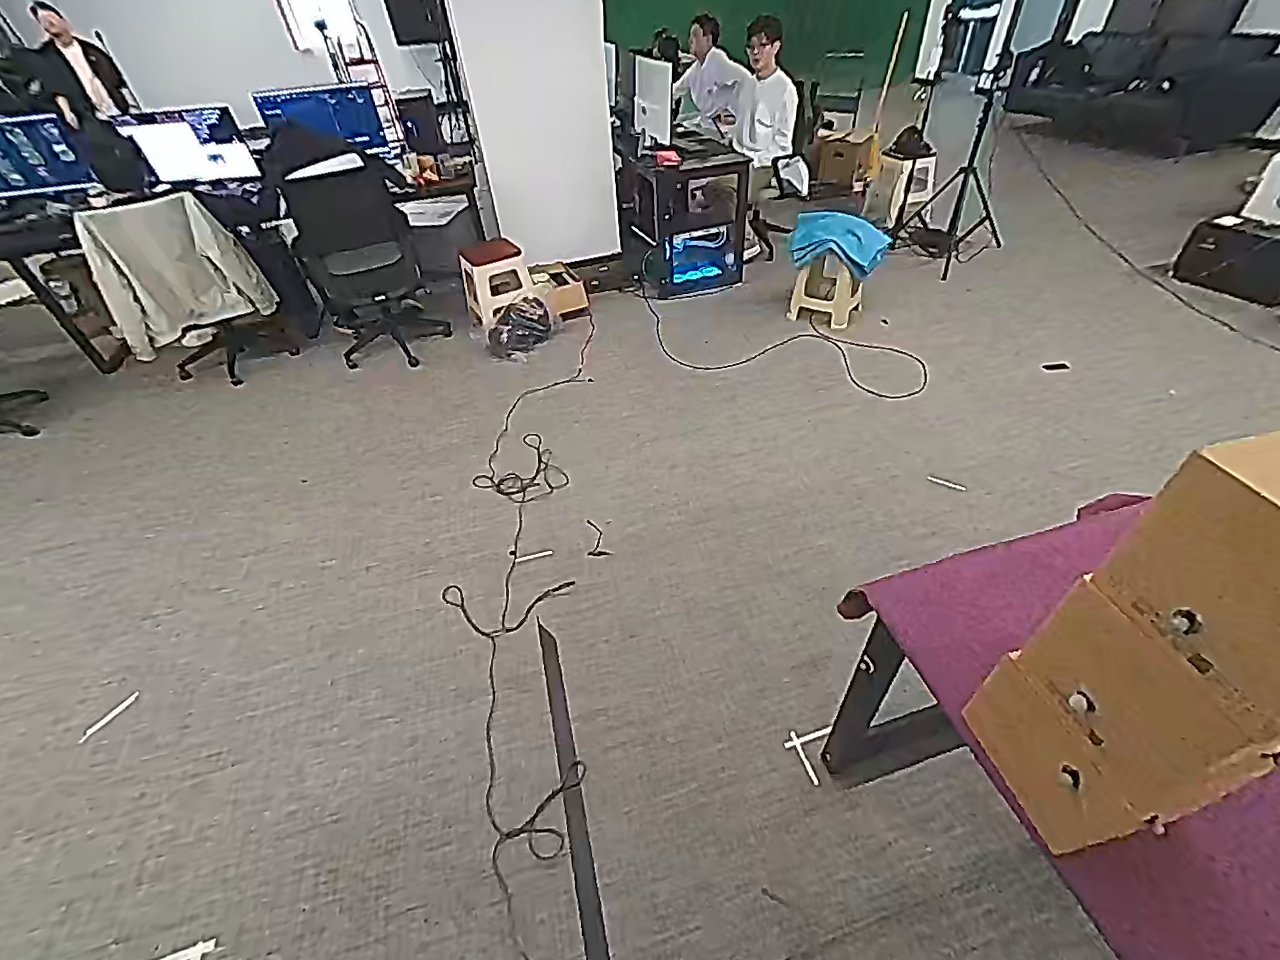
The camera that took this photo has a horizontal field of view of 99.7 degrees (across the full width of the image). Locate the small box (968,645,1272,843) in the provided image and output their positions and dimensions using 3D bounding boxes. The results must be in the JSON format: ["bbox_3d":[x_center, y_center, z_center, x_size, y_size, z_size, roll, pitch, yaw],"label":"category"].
[{"bbox_3d":[0.540,0.305,0.644,0.168,0.176,0.179,-11,43,-6],"label":"small box"}]

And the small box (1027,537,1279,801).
[{"bbox_3d":[0.538,0.185,0.531,0.179,0.176,0.168,-12,43,-6],"label":"small box"}]
